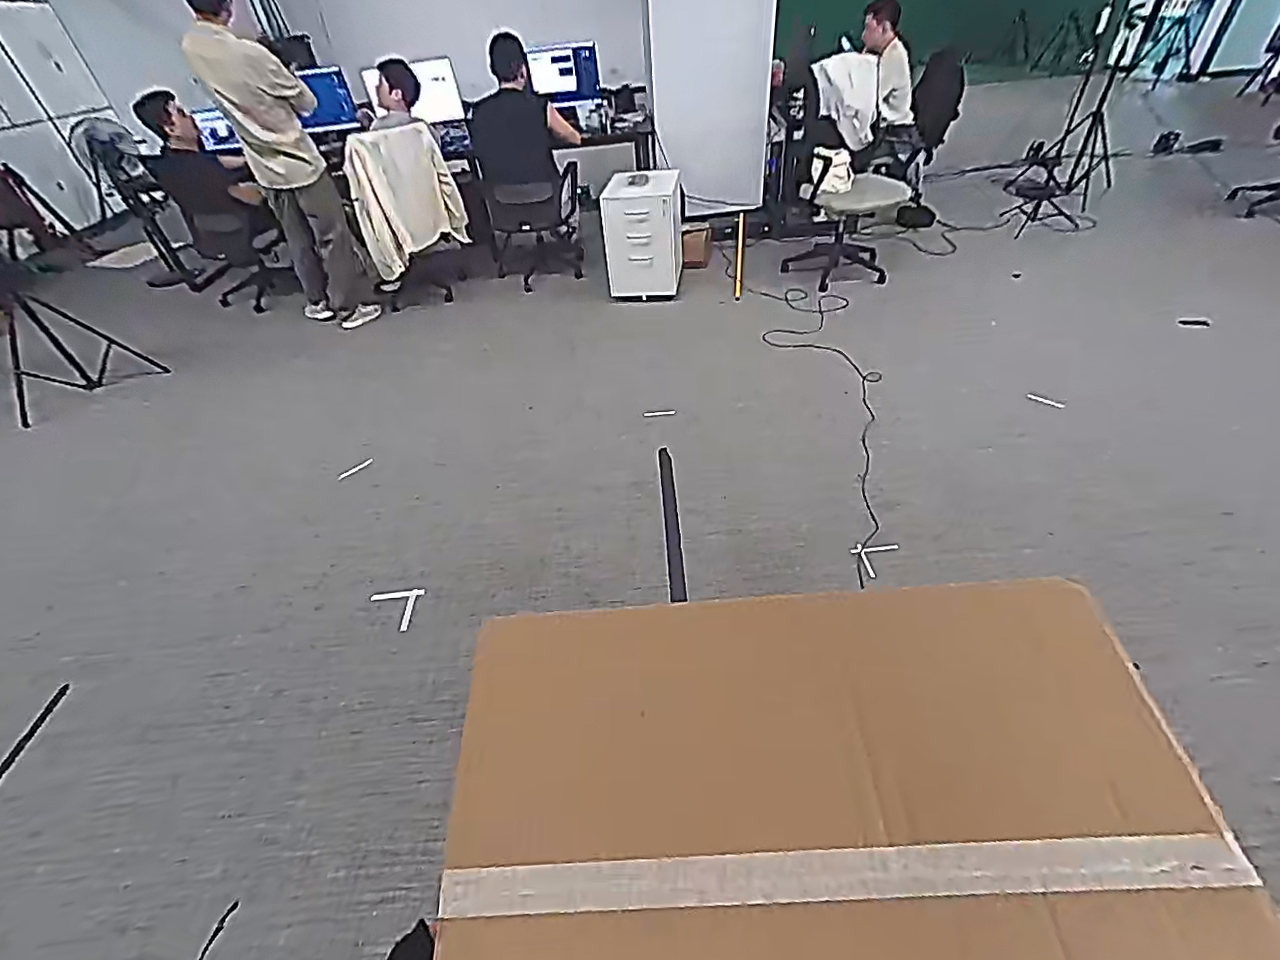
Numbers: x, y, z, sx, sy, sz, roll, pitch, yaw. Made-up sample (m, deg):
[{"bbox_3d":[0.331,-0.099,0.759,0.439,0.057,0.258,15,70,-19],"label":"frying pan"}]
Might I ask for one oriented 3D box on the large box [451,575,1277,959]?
[{"bbox_3d":[0.111,0.295,0.409,0.408,0.320,0.320,-5,53,4],"label":"large box"}]
